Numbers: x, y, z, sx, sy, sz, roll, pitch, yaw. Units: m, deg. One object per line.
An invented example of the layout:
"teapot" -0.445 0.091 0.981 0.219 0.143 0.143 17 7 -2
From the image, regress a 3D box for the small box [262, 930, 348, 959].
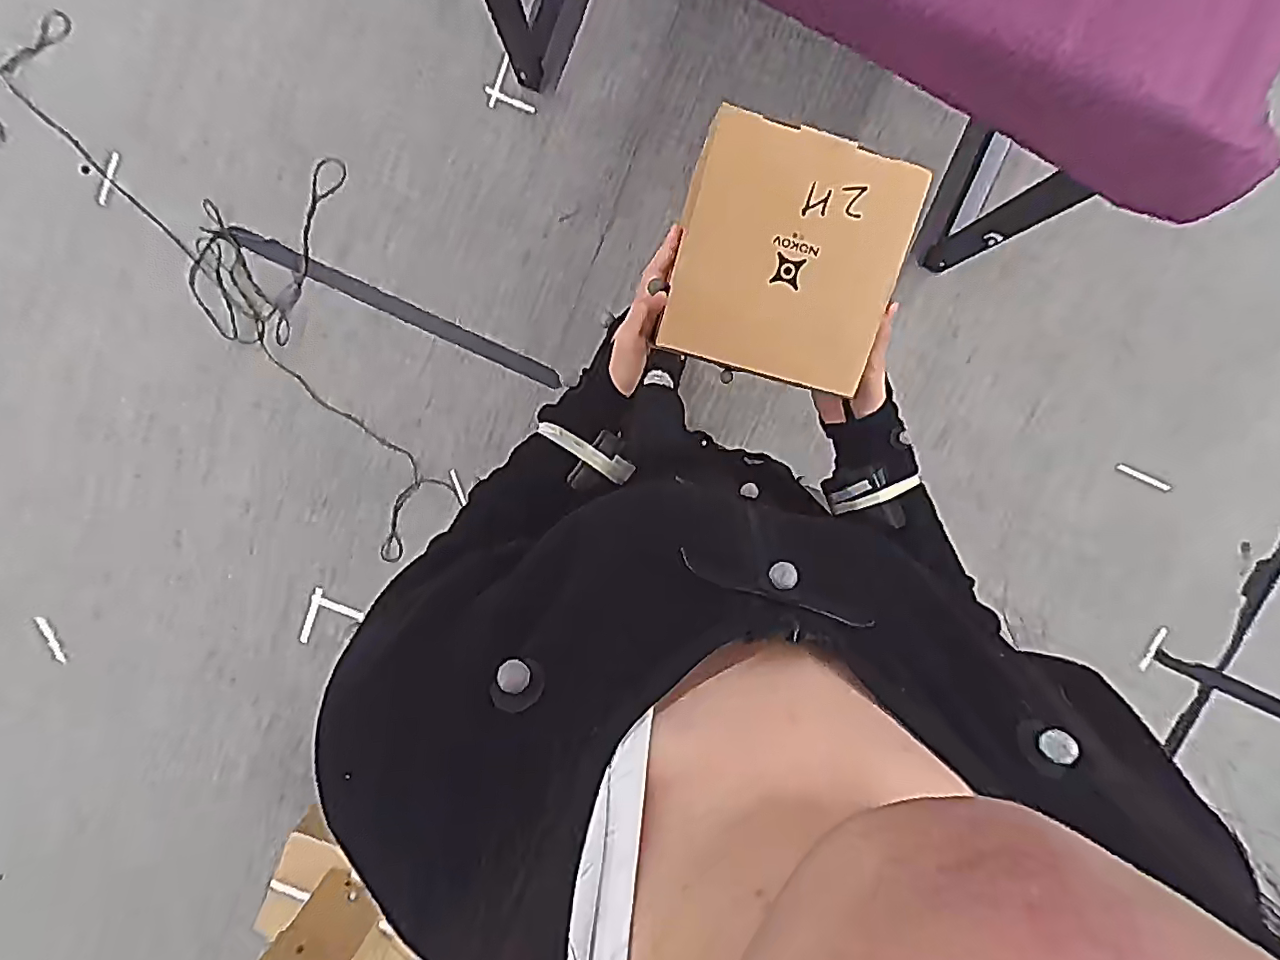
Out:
"small box" -0.726 1.081 1.101 0.168 0.176 0.179 21 97 -1

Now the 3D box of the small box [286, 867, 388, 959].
"small box" -0.721 1.068 1.263 0.168 0.176 0.179 22 96 -2

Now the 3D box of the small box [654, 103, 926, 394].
"small box" 0.113 -0.190 0.493 0.168 0.176 0.179 15 102 -6
